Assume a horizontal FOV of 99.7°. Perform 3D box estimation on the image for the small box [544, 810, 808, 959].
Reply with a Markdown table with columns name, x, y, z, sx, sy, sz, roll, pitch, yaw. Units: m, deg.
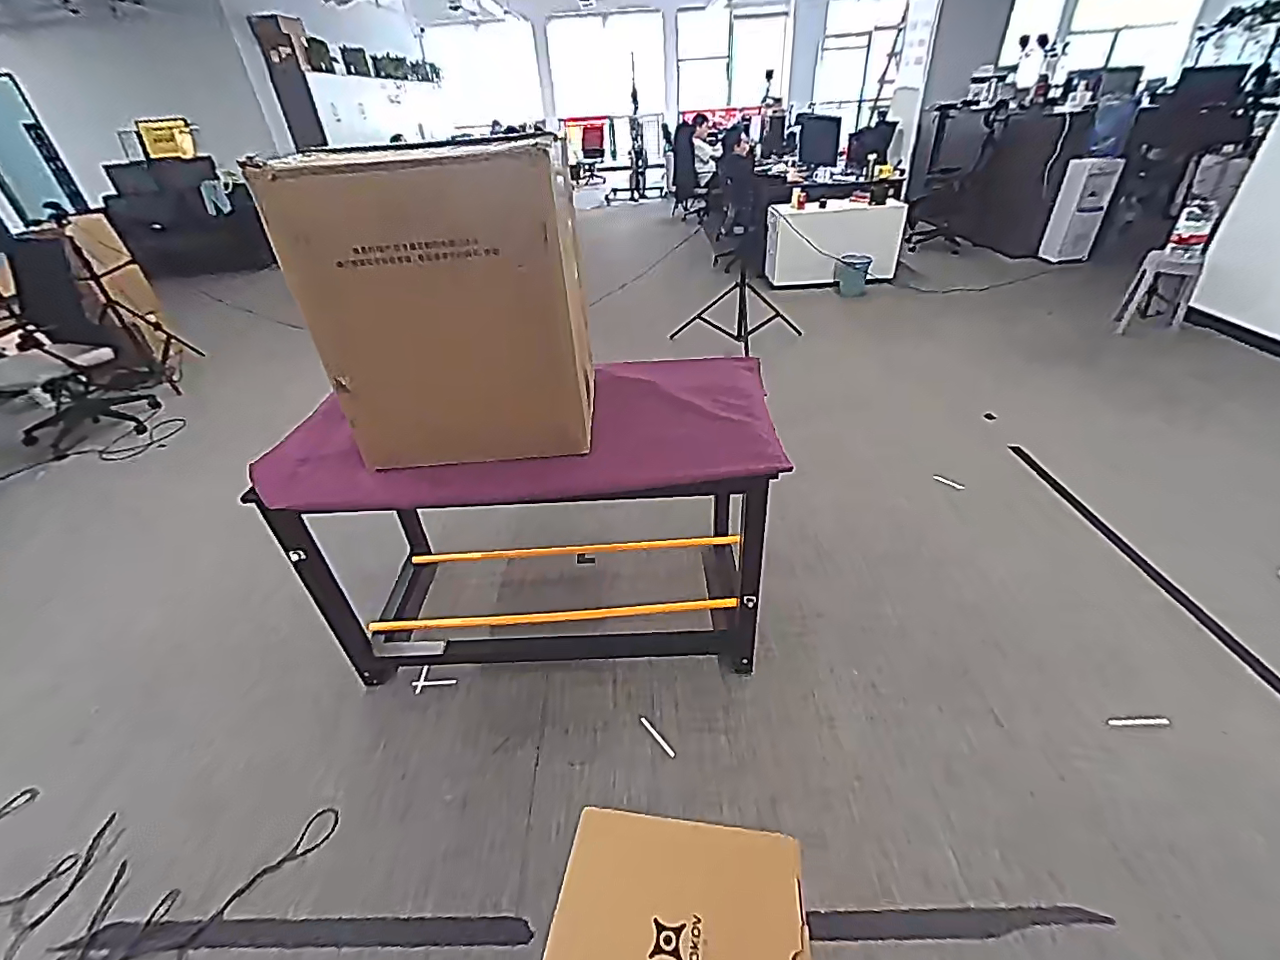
| name | x | y | z | sx | sy | sz | roll | pitch | yaw |
| --- | --- | --- | --- | --- | --- | --- | --- | --- | --- |
| small box | 0.031 | 0.386 | 0.402 | 0.179 | 0.176 | 0.168 | 1 | 27 | 11 |
